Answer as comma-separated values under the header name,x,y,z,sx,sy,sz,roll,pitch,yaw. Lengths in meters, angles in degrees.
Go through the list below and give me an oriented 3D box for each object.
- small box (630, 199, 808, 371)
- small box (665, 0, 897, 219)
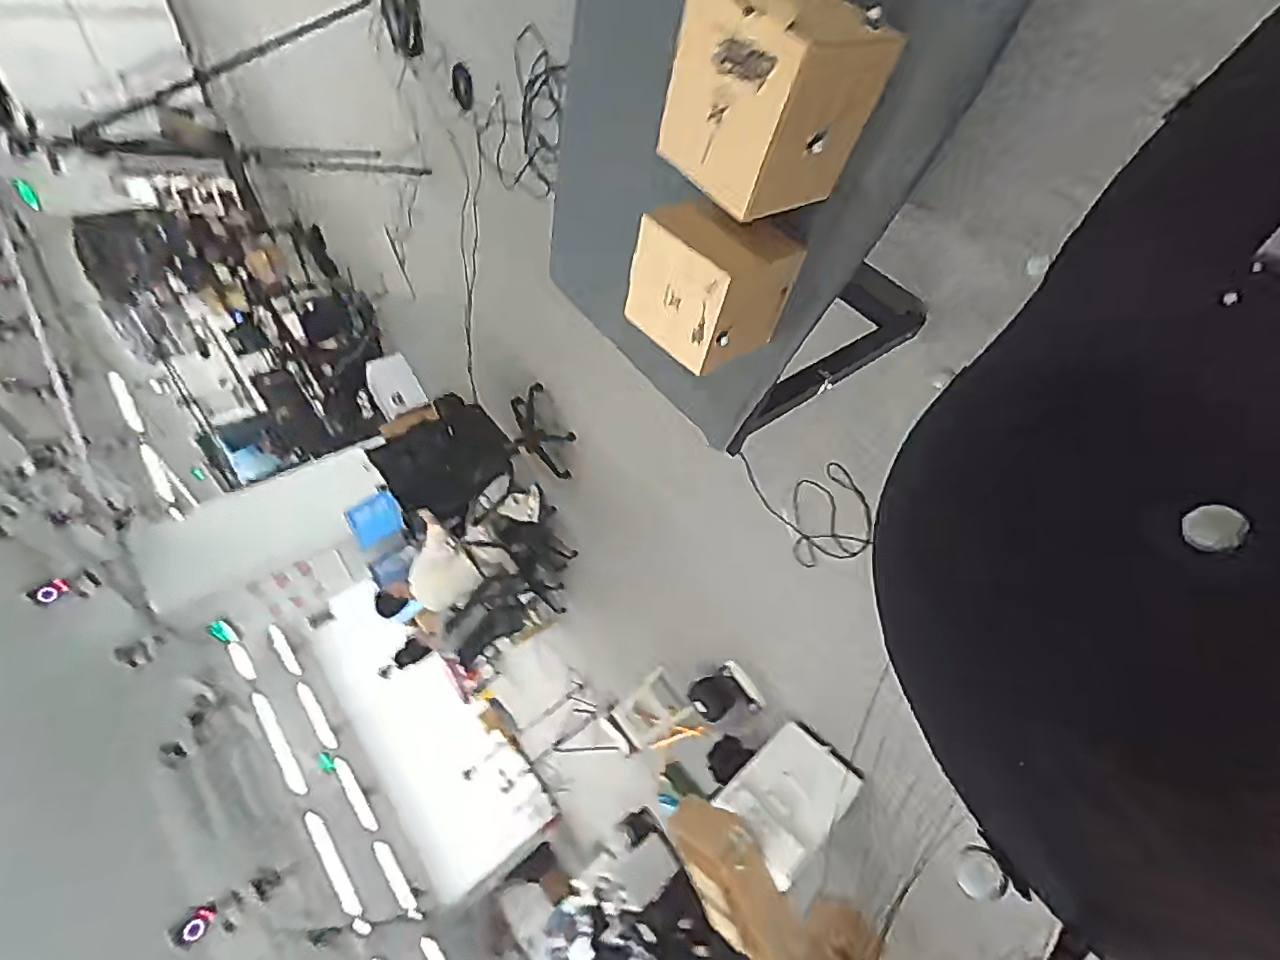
name,x,y,z,sx,sy,sz,roll,pitch,yaw
small box,0.113,-0.299,0.812,0.179,0.176,0.168,47,148,22
small box,0.159,-0.441,0.622,0.168,0.176,0.179,51,151,19
